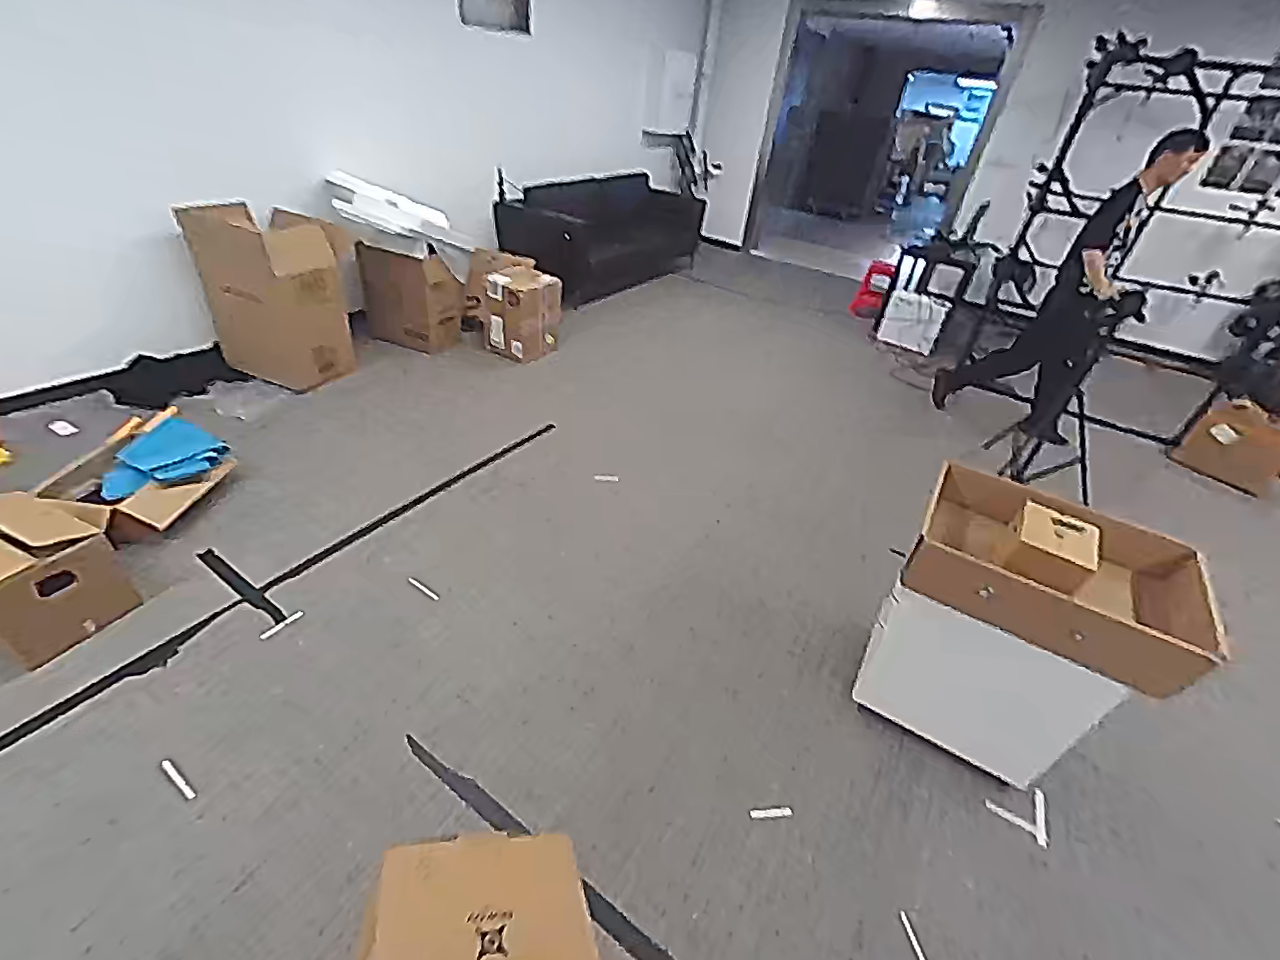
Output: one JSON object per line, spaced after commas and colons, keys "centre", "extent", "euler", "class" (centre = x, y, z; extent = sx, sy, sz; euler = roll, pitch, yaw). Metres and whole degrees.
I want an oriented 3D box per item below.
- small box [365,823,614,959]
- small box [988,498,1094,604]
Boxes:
{"centre": [-0.129, 0.412, 0.428], "extent": [0.168, 0.176, 0.179], "euler": [14, 13, -22], "class": "small box"}
{"centre": [1.032, 0.183, 1.399], "extent": [0.168, 0.176, 0.179], "euler": [25, 45, 23], "class": "small box"}
